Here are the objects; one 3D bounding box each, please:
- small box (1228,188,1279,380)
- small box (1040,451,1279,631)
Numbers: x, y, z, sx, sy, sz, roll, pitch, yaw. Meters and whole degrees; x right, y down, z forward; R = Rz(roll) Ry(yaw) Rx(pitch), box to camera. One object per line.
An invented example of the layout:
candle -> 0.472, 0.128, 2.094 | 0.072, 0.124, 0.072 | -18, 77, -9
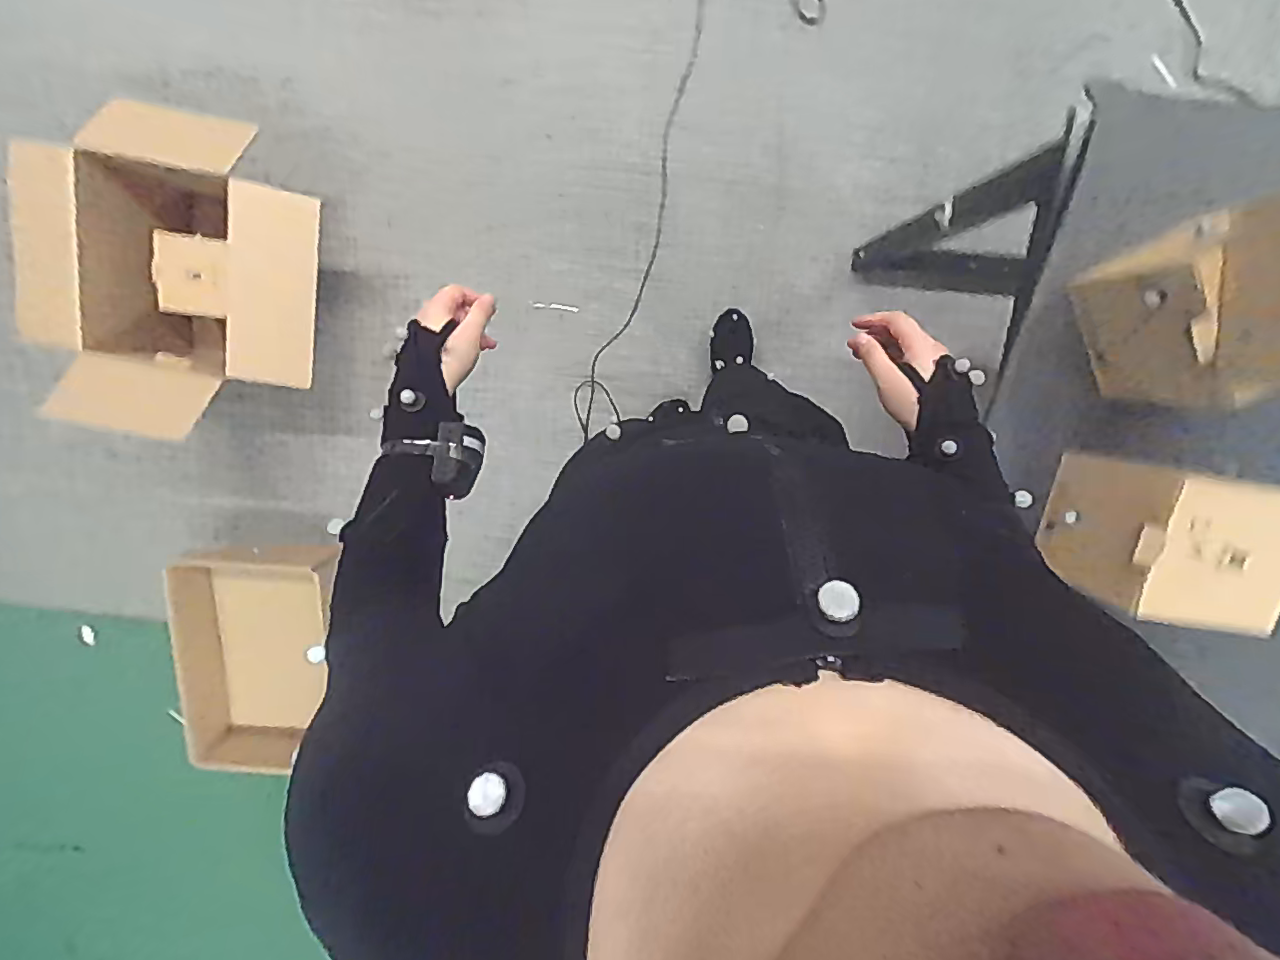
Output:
small box -> 0.659, -0.181, 0.450 | 0.168, 0.176, 0.179 | -8, 101, 2
small box -> 0.657, 0.064, 0.669 | 0.179, 0.176, 0.168 | 9, 101, -2
